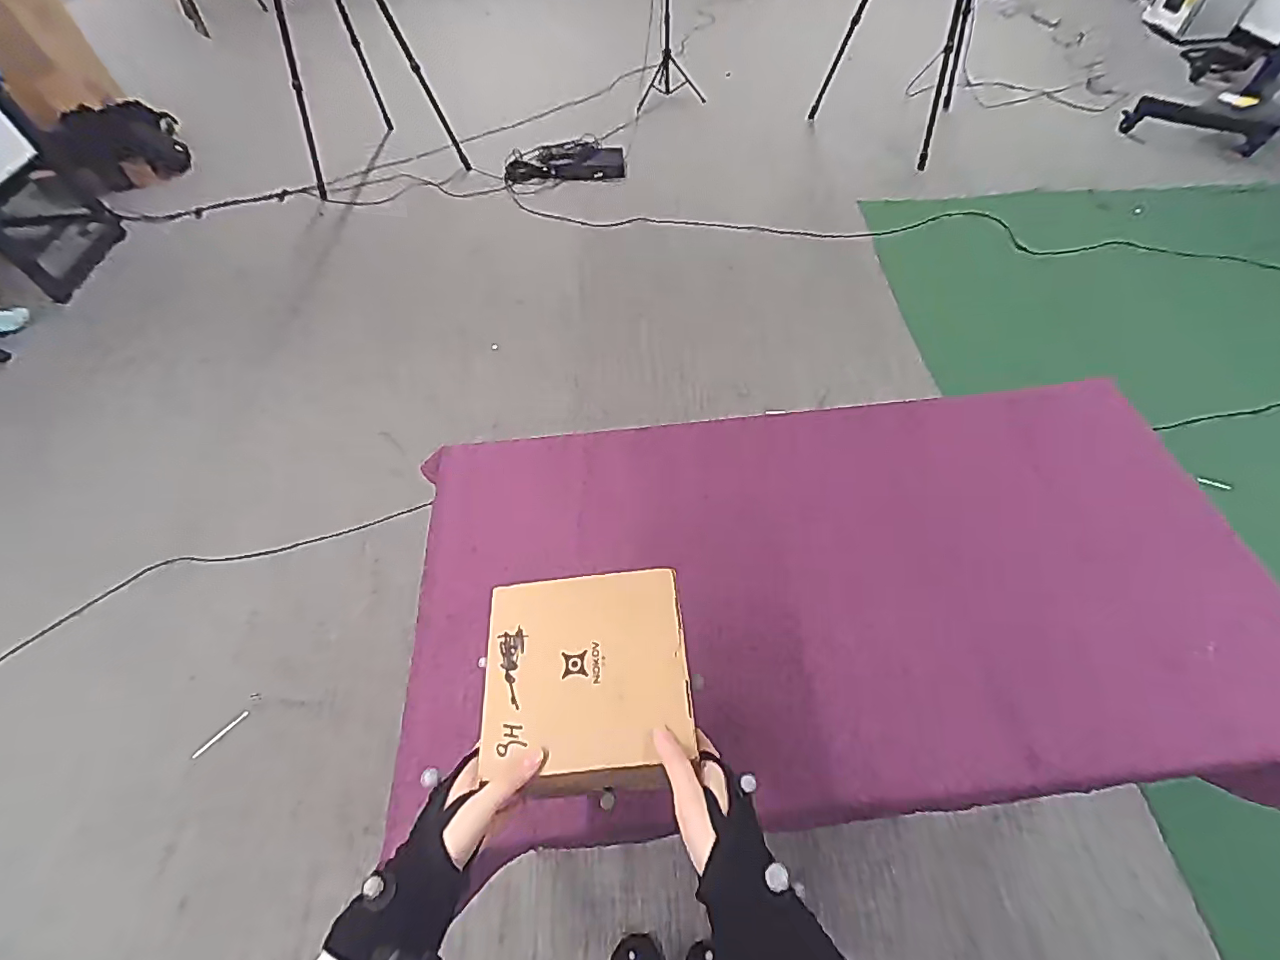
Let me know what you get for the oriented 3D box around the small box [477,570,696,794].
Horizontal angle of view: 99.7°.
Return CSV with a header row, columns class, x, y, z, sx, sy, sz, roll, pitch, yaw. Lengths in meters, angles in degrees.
class,x,y,z,sx,sy,sz,roll,pitch,yaw
small box,-0.042,0.204,0.534,0.179,0.176,0.168,-6,54,2
